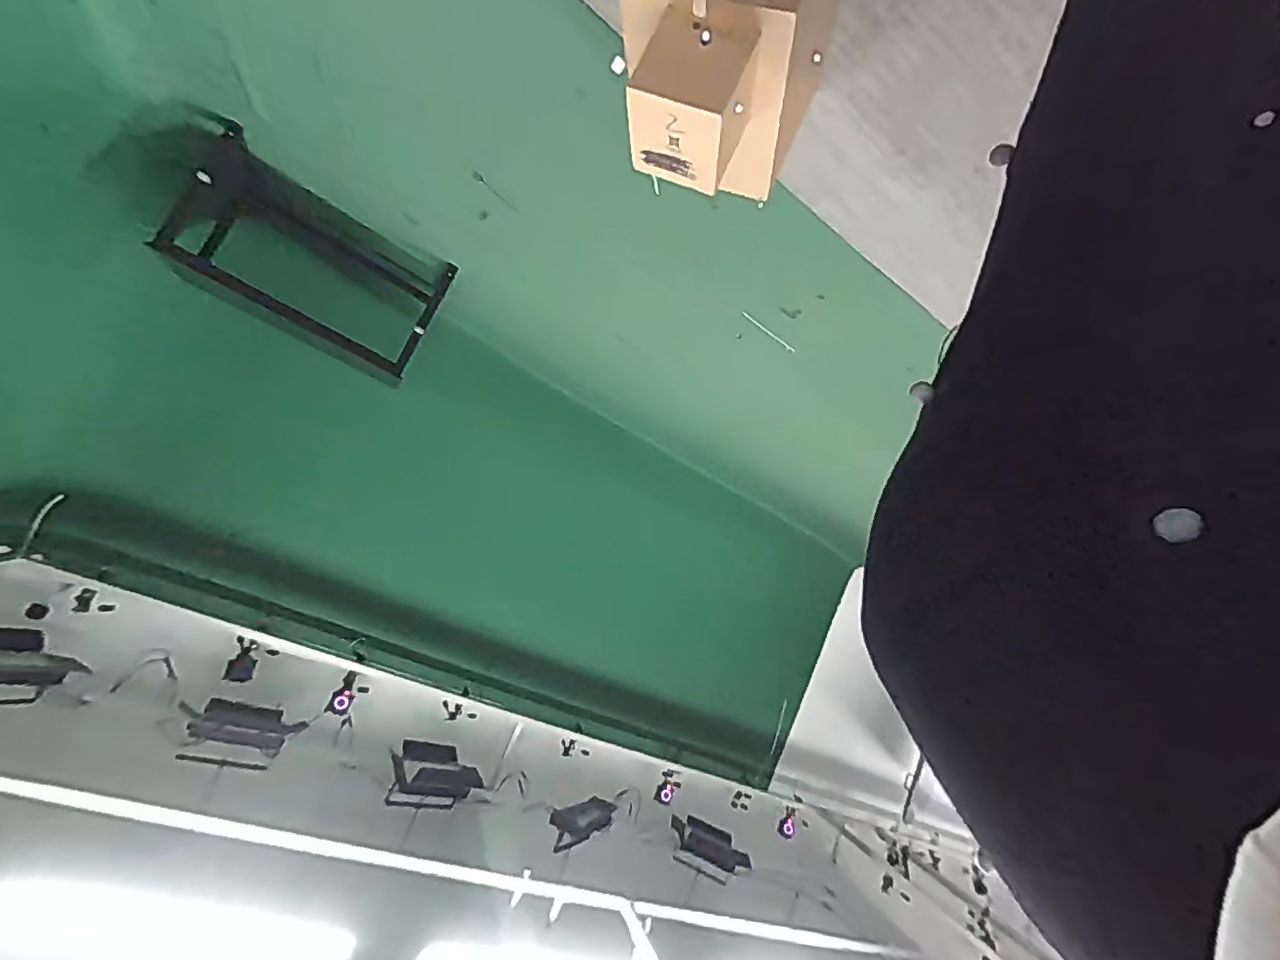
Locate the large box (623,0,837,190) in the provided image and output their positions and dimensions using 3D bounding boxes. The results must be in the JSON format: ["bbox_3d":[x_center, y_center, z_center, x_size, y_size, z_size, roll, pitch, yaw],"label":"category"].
[{"bbox_3d":[0.188,-0.869,1.048,0.320,0.320,0.408,24,173,11],"label":"large box"}]
